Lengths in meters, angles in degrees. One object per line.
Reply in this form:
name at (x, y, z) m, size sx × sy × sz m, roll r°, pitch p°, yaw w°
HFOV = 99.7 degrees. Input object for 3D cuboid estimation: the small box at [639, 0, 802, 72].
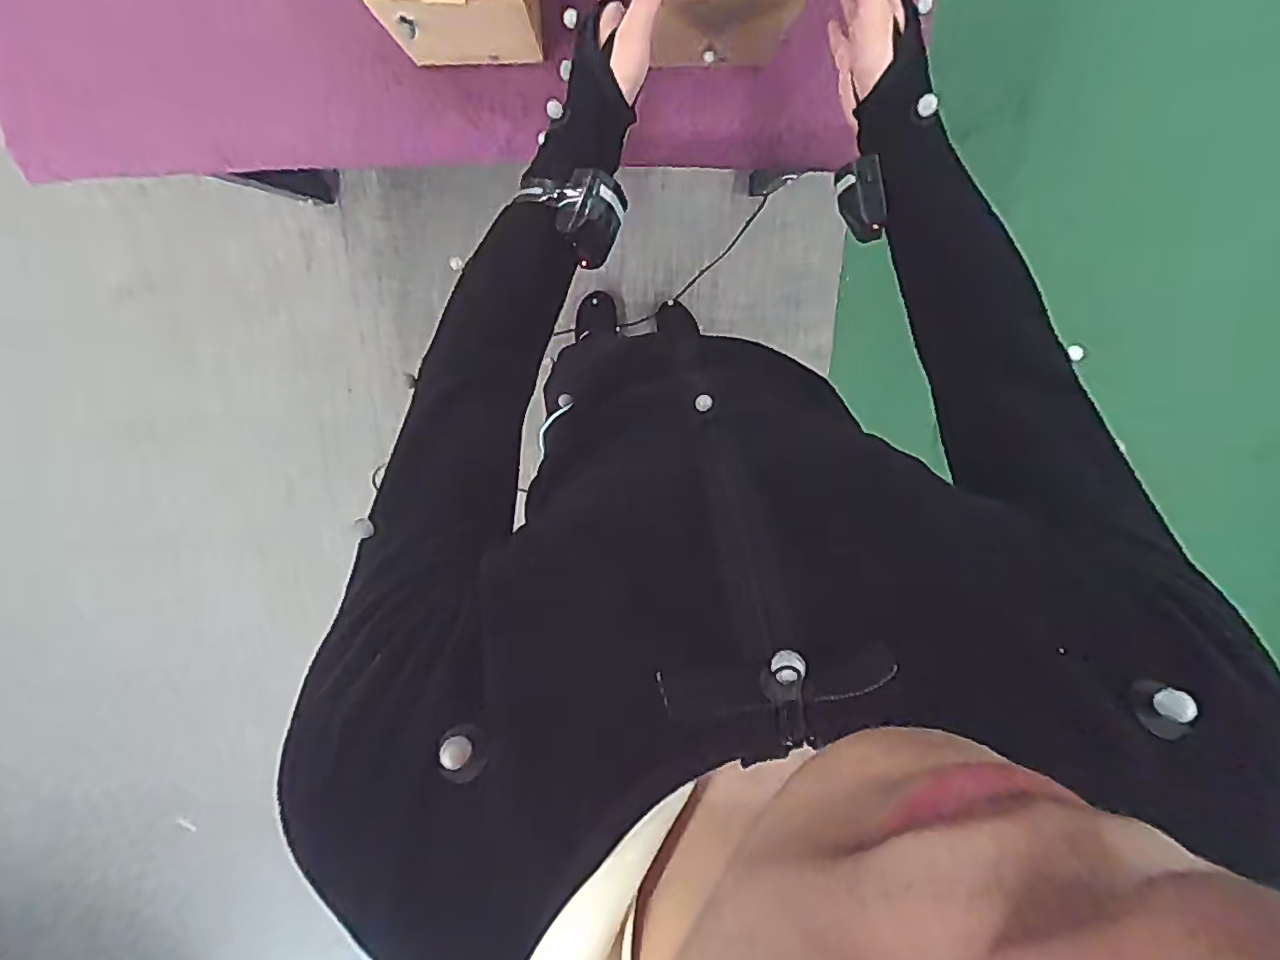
small box at (0.084, -0.599, 0.610) m, size 0.168 × 0.176 × 0.179 m, roll -1°, pitch 109°, yaw -2°
